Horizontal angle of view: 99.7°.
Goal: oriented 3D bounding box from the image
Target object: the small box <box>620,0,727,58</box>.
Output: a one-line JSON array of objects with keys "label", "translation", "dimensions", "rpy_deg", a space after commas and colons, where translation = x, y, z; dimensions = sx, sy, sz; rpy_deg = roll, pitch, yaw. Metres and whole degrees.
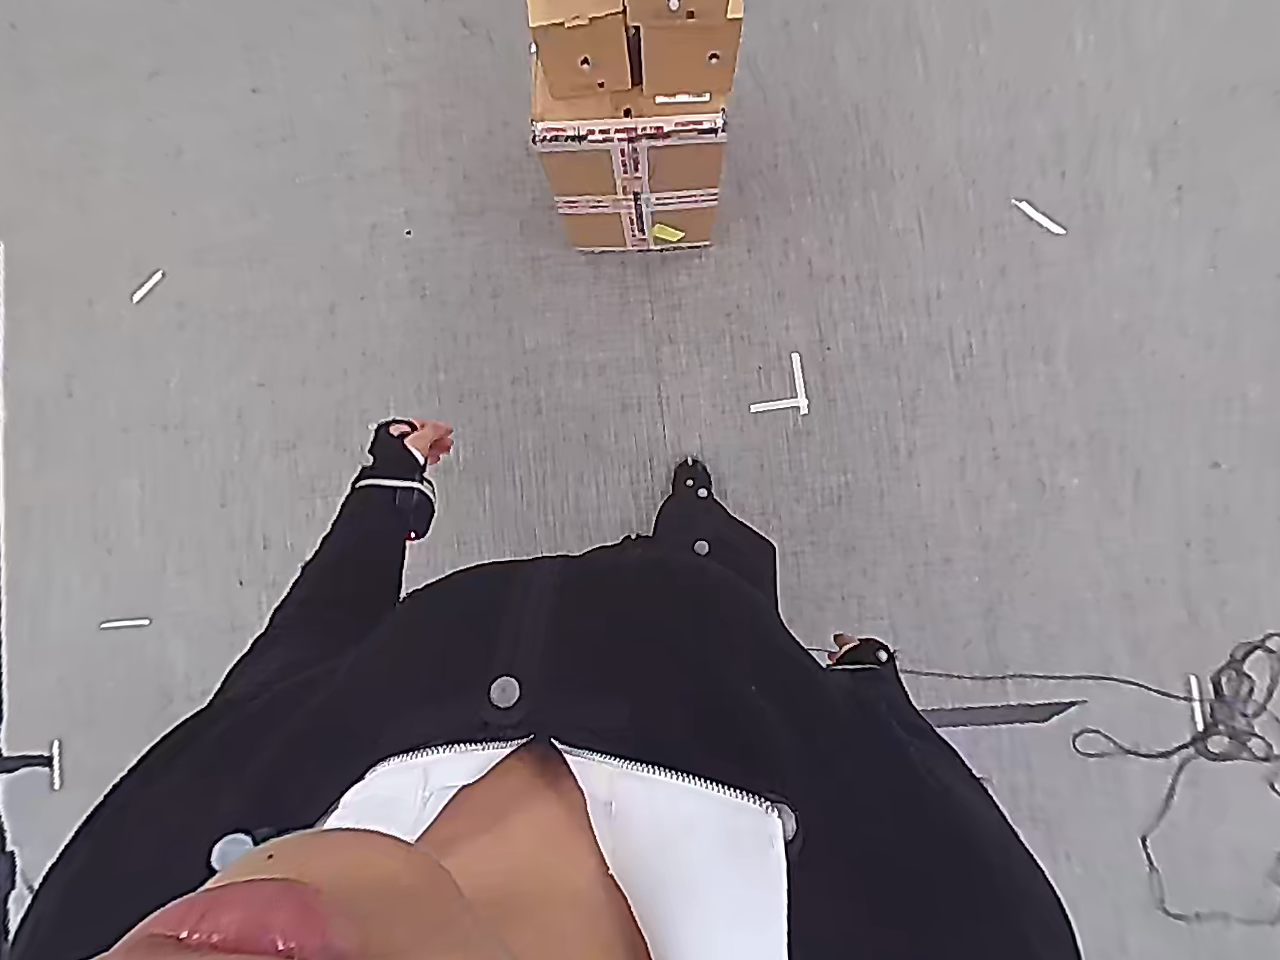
[{"label": "small box", "translation": [0.053, -0.811, 0.843], "dimensions": [0.168, 0.176, 0.179], "rpy_deg": [2, 88, 1]}]
